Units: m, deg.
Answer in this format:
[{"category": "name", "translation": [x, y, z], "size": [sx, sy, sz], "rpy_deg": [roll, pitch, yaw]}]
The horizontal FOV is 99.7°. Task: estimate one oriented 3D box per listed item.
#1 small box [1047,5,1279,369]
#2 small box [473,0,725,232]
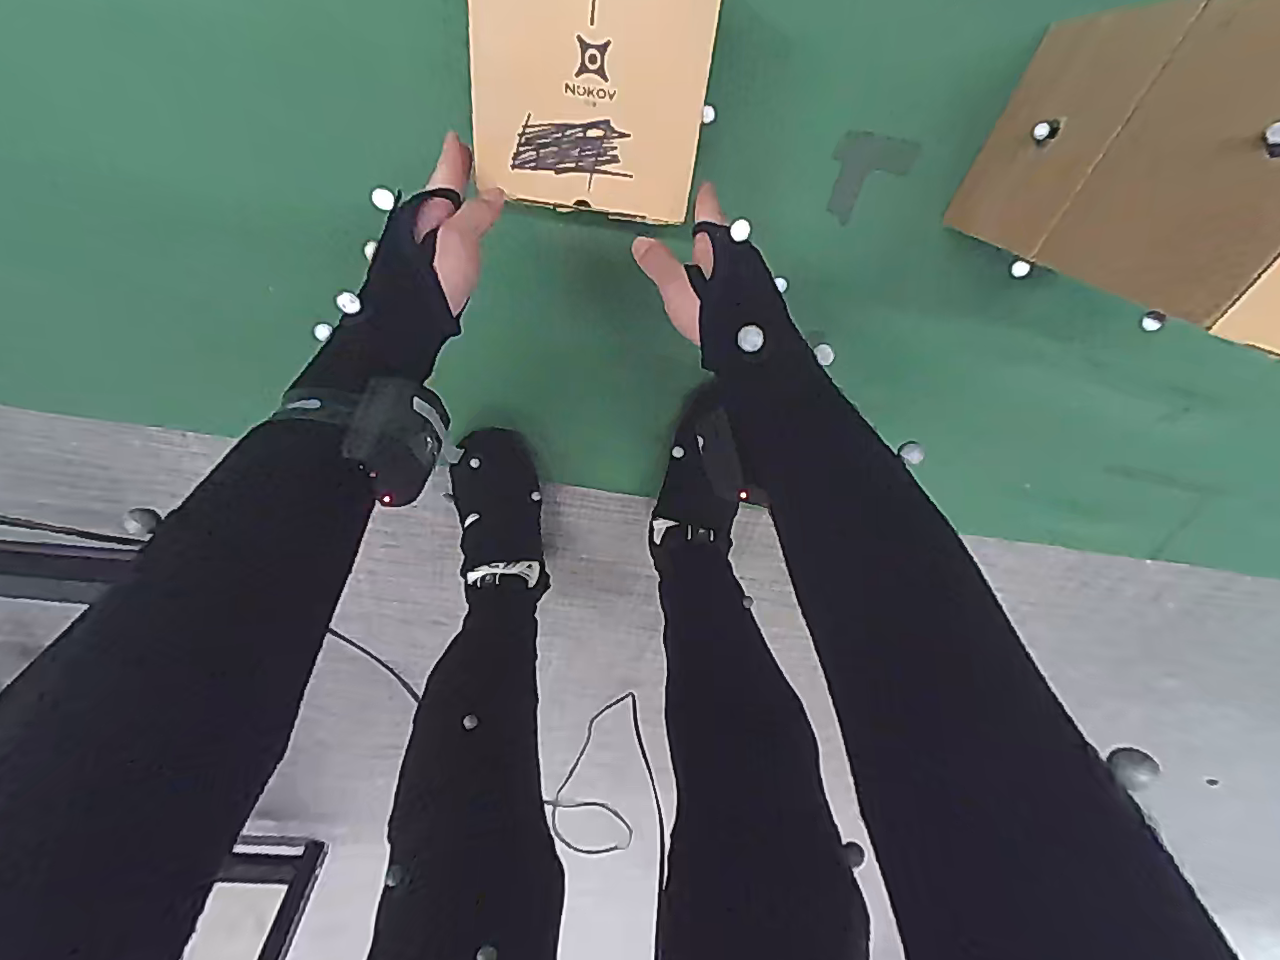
[{"category": "small box", "translation": [0.427, -0.178, 0.349], "size": [0.168, 0.176, 0.179], "rpy_deg": [14, 125, -10]}, {"category": "small box", "translation": [-0.033, -0.324, 0.442], "size": [0.168, 0.176, 0.179], "rpy_deg": [6, 125, -5]}]
